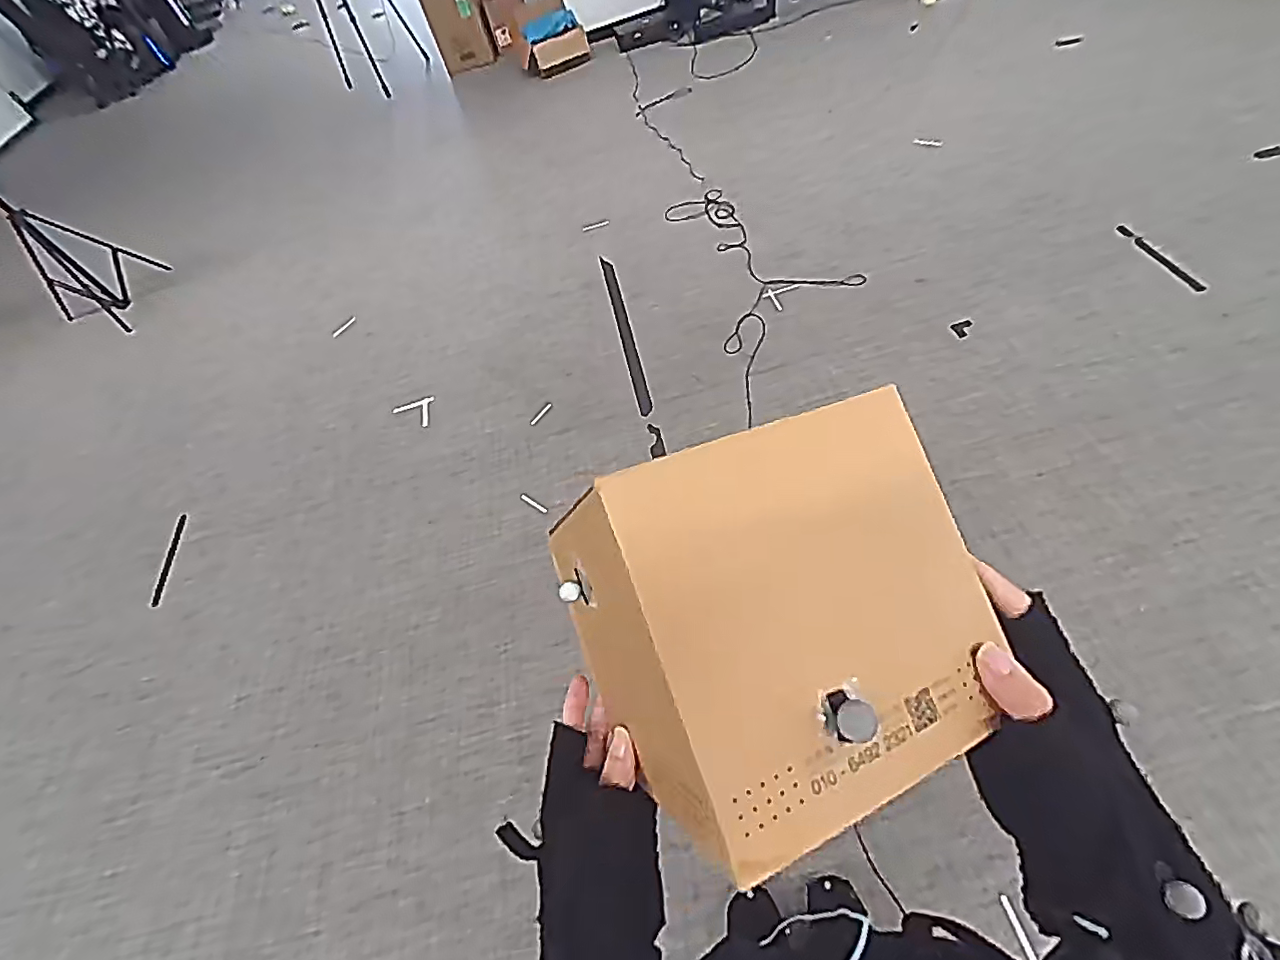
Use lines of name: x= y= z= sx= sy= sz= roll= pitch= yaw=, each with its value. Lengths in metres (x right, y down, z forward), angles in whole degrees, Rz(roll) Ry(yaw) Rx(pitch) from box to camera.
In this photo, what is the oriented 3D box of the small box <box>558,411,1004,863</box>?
small box: x=0.062 y=0.082 z=0.328 sx=0.168 sy=0.179 sz=0.176 roll=-19 pitch=83 yaw=-20
